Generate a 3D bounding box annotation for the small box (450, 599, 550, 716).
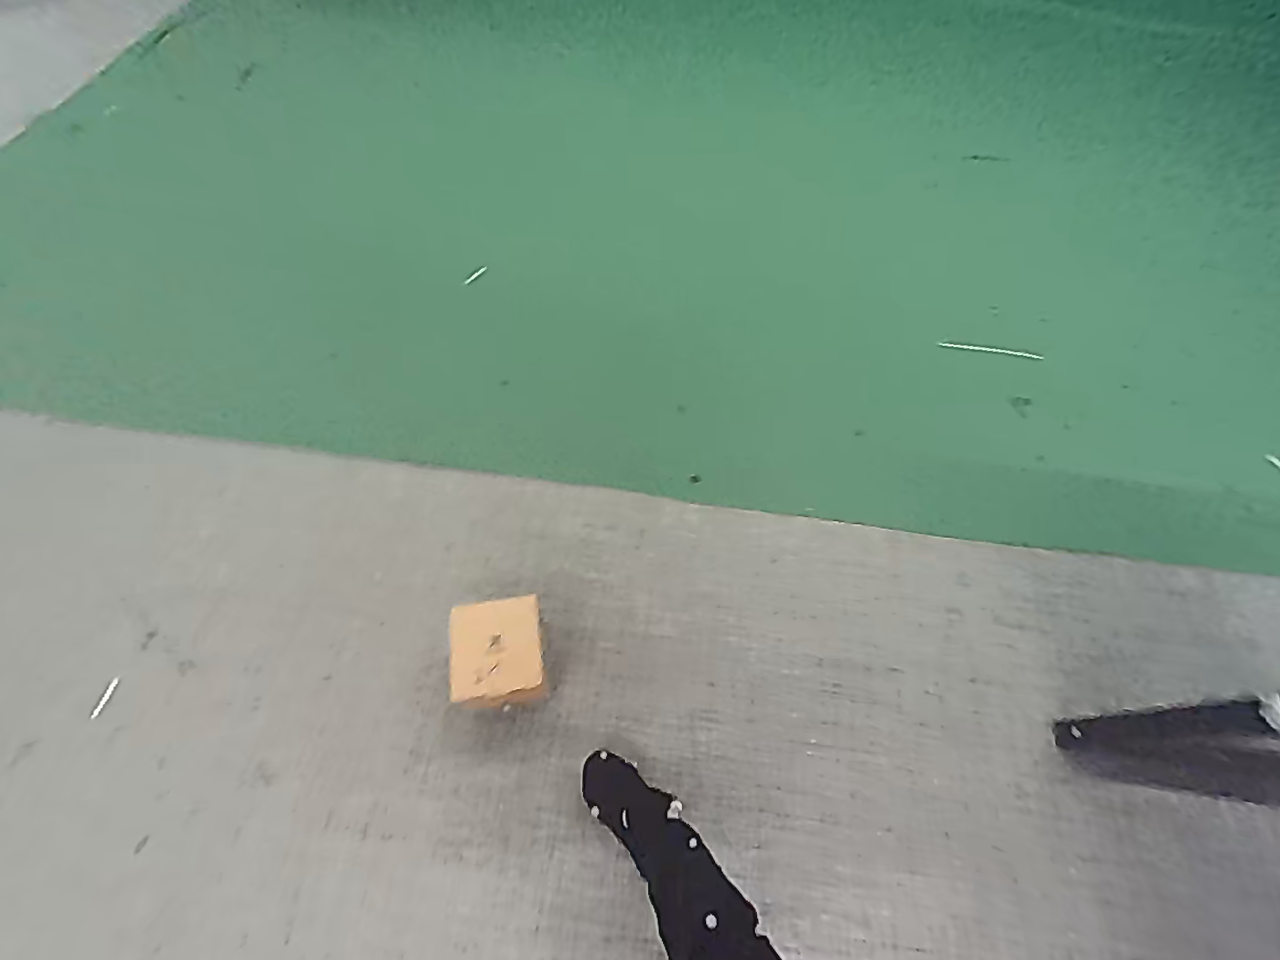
[{"bbox_3d":[-0.276,0.358,1.084,0.168,0.176,0.179,-8,61,-7],"label":"small box"}]
